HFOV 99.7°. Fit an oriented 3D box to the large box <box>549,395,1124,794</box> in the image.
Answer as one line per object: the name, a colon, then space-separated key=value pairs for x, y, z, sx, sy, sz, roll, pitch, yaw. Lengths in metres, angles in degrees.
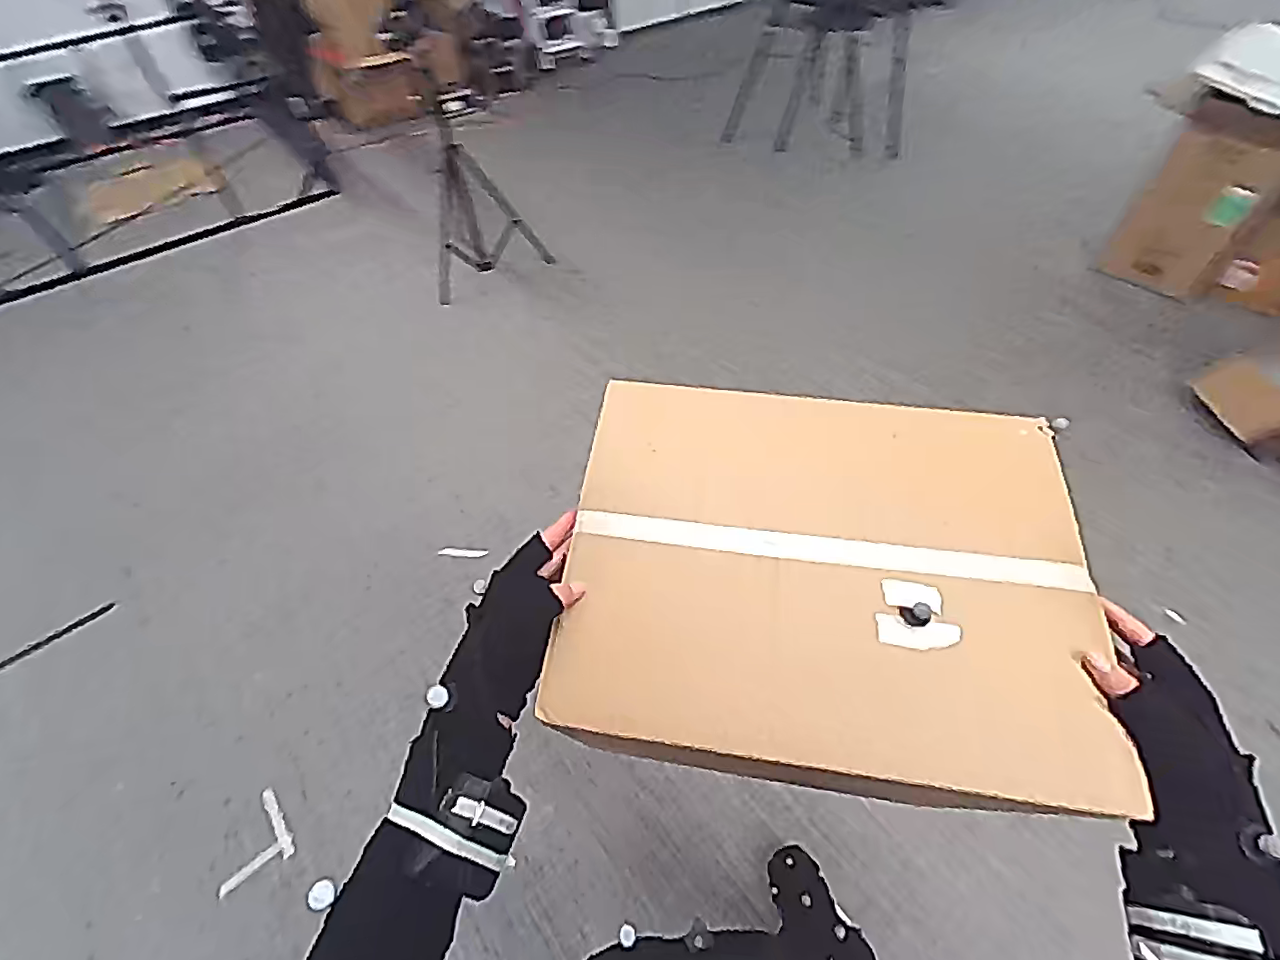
large box: x=0.148 y=0.135 z=0.578 sx=0.408 sy=0.320 sz=0.320 roll=5 pitch=61 yaw=5
